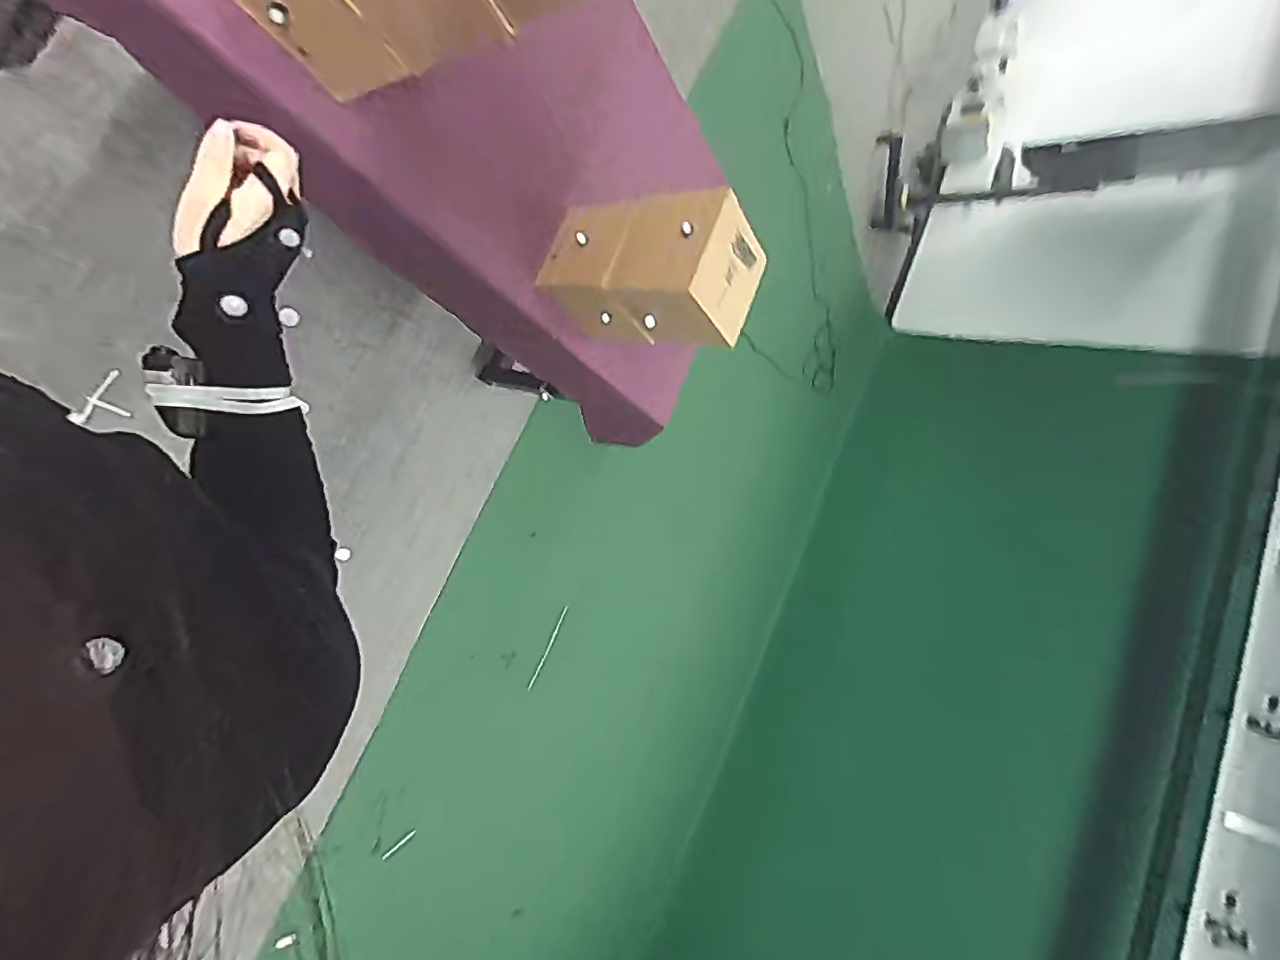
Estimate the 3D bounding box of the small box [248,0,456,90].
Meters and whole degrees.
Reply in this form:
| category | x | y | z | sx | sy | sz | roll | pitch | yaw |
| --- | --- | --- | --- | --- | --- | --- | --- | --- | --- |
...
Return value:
| category | x | y | z | sx | sy | sz | roll | pitch | yaw |
| --- | --- | --- | --- | --- | --- | --- | --- | --- | --- |
| small box | -0.310 | -0.565 | 0.575 | 0.168 | 0.176 | 0.179 | 35 | 76 | -53 |

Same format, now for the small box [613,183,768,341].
| category | x | y | z | sx | sy | sz | roll | pitch | yaw |
| --- | --- | --- | --- | --- | --- | --- | --- | --- | --- |
| small box | 0.082 | -0.352 | 0.891 | 0.168 | 0.176 | 0.179 | 30 | 79 | -52 |

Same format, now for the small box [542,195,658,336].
| category | x | y | z | sx | sy | sz | roll | pitch | yaw |
| --- | --- | --- | --- | --- | --- | --- | --- | --- | --- |
| small box | -0.048 | -0.382 | 0.988 | 0.179 | 0.176 | 0.168 | 35 | 76 | -52 |
